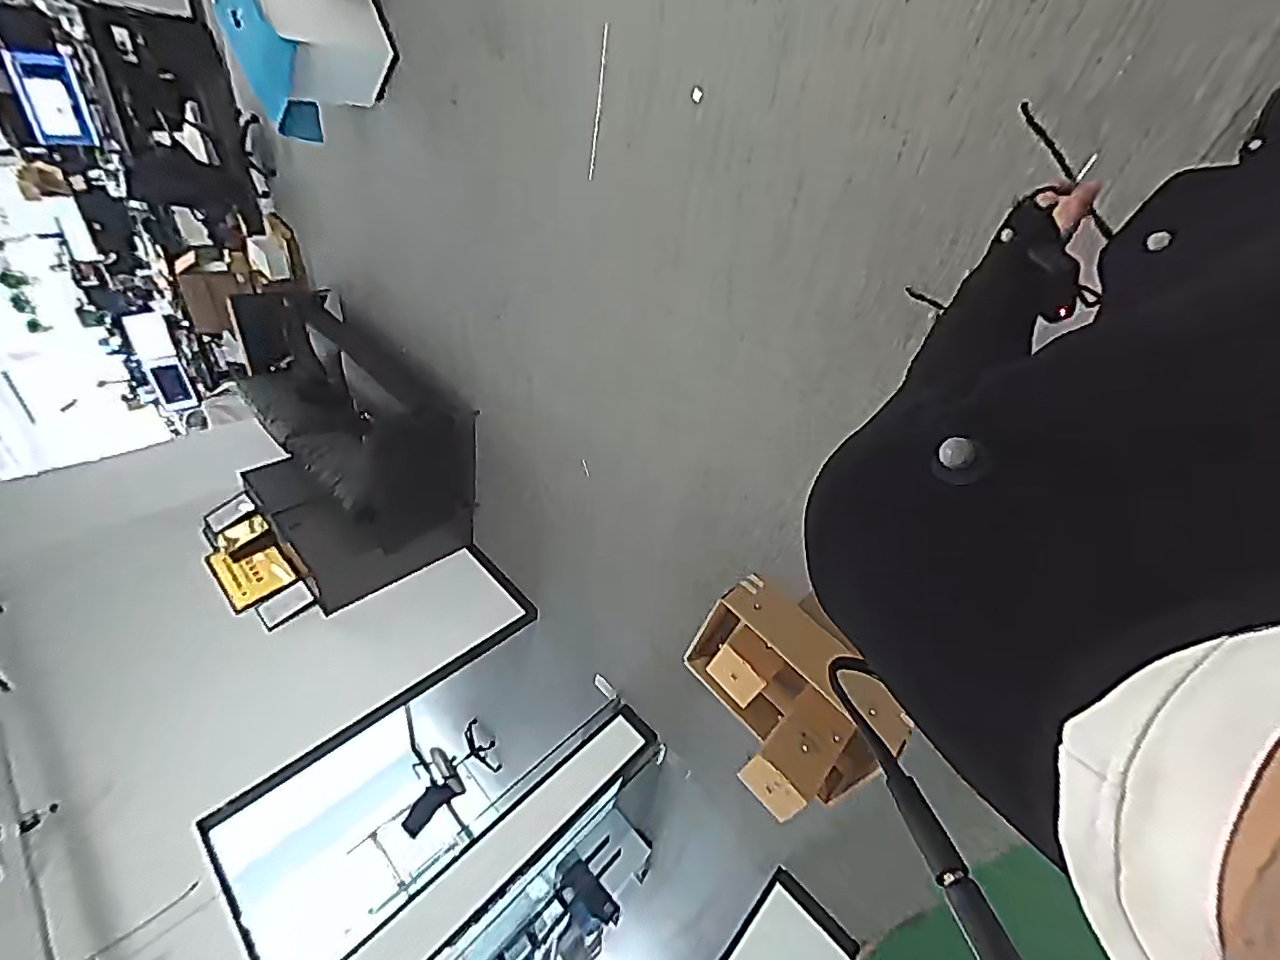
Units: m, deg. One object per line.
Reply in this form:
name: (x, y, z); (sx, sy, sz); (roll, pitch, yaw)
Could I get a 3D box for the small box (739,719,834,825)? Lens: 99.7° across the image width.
small box: (0.414, 0.816, 1.520); (0.168, 0.176, 0.179); (41, 136, 24)

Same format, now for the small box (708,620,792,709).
small box: (0.352, 0.582, 1.719); (0.168, 0.176, 0.179); (42, 135, 23)
